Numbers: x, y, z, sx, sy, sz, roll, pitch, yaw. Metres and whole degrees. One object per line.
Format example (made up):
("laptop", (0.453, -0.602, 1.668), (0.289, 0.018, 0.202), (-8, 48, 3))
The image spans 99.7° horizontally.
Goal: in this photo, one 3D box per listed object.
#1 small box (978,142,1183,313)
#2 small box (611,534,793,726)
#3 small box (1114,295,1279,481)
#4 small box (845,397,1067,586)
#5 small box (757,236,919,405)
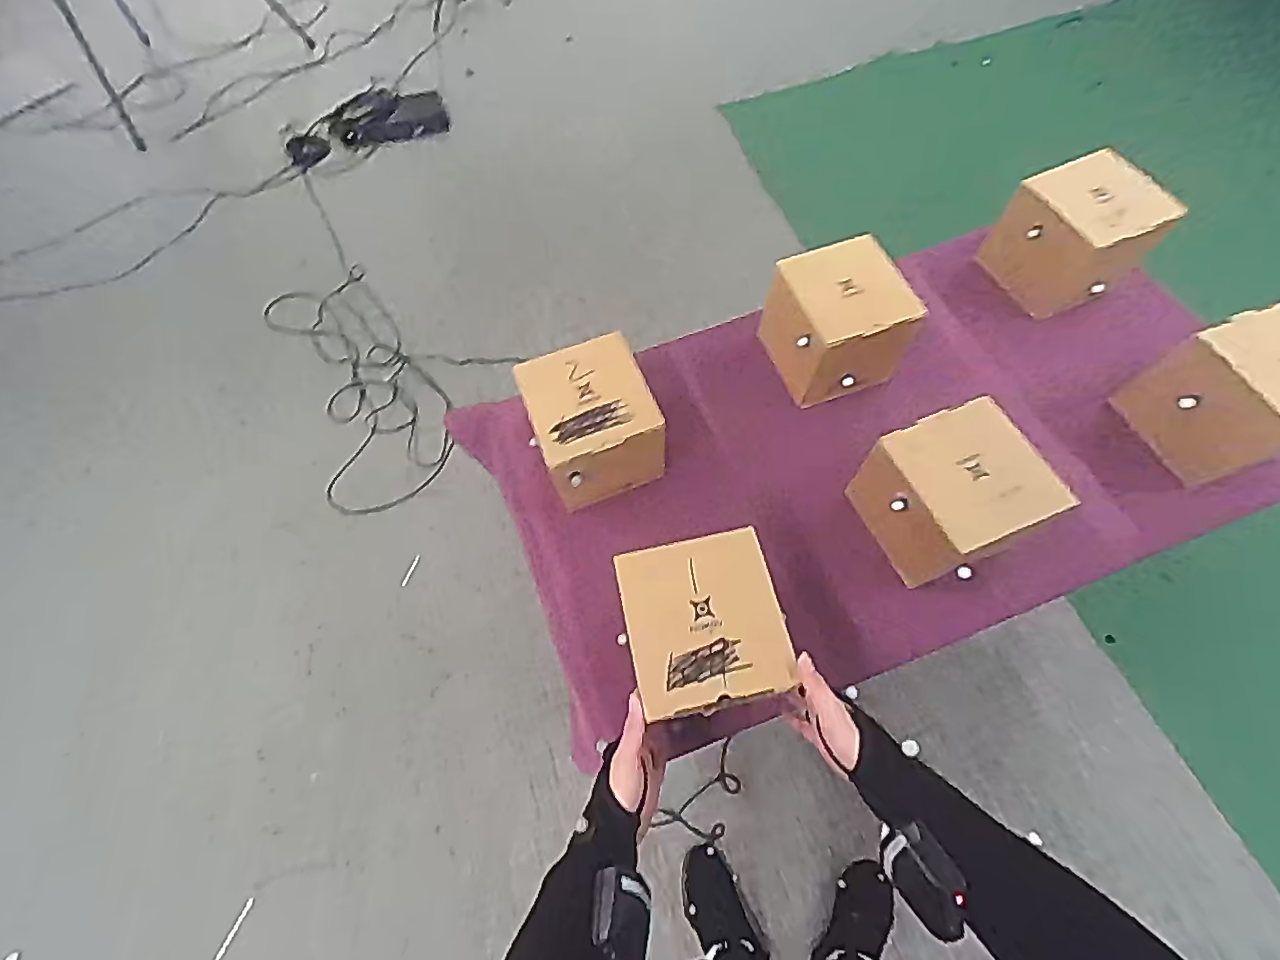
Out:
("small box", (0.728, -0.423, 0.923), (0.168, 0.176, 0.179), (-24, 66, -3))
("small box", (0.069, 0.186, 0.653), (0.168, 0.176, 0.179), (-12, 65, -1))
("small box", (0.856, -0.126, 0.776), (0.168, 0.176, 0.179), (-21, 66, -4))
("small box", (0.412, 0.022, 0.746), (0.168, 0.176, 0.179), (-22, 65, -5))
("small box", (0.306, -0.254, 0.883), (0.168, 0.176, 0.179), (-19, 67, -5))
